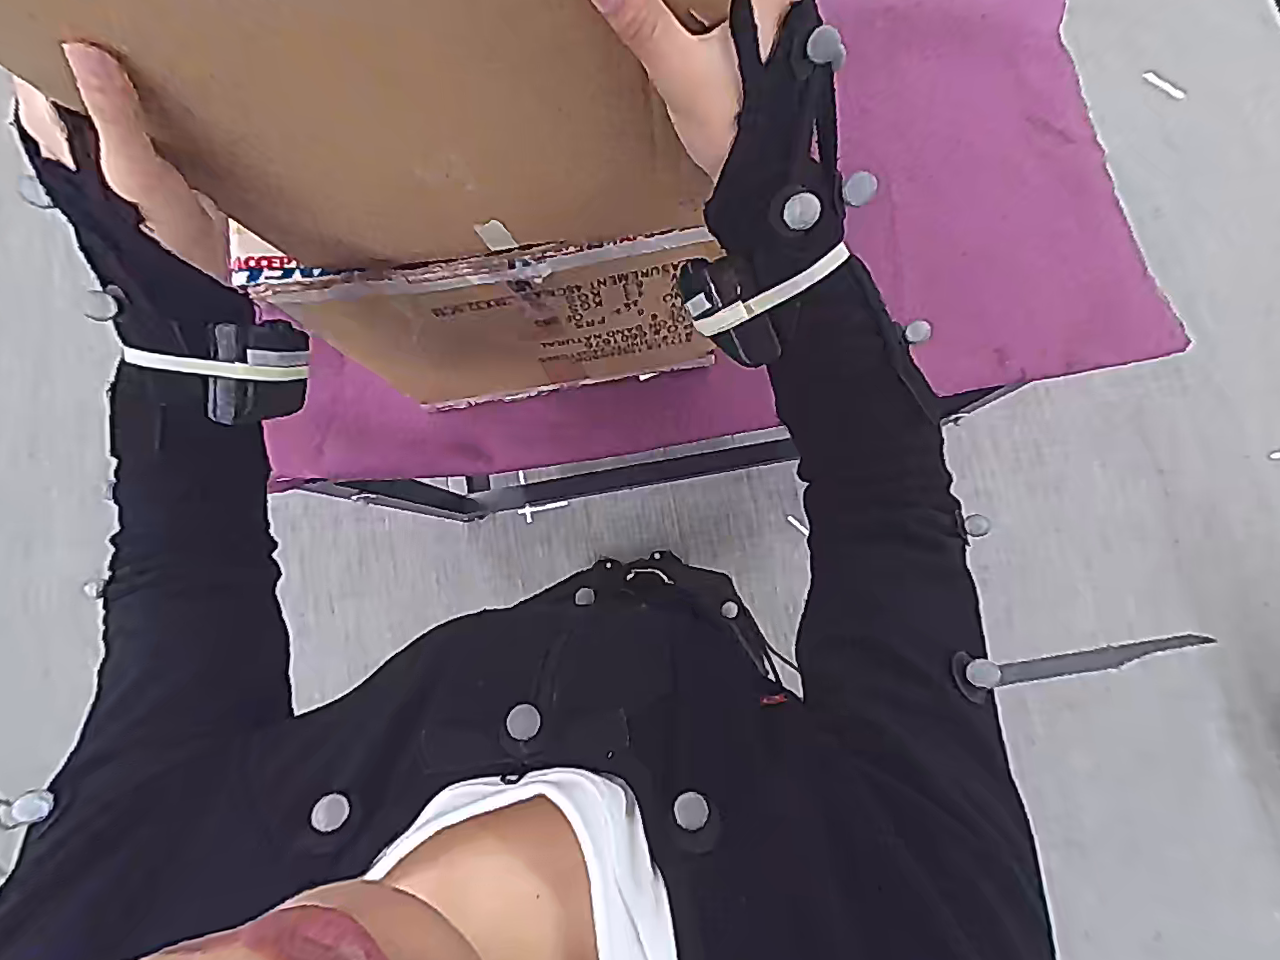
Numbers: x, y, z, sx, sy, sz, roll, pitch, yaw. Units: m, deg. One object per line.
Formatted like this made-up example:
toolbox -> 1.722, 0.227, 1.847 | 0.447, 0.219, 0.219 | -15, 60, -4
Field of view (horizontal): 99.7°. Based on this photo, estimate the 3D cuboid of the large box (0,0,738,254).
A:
large box -> -0.123, -0.385, 0.258 | 0.320, 0.320, 0.408 | -5, 85, 7
